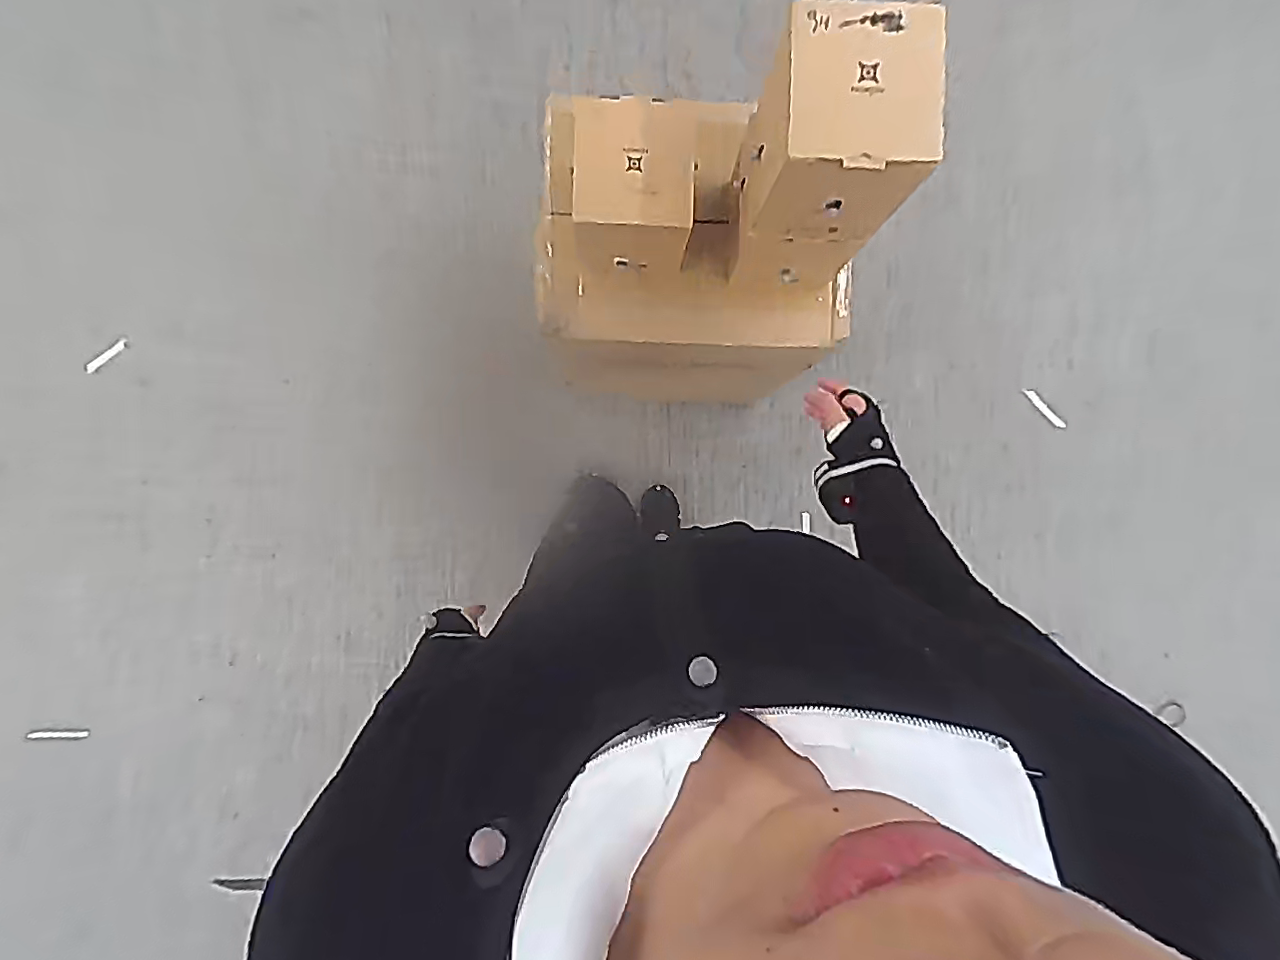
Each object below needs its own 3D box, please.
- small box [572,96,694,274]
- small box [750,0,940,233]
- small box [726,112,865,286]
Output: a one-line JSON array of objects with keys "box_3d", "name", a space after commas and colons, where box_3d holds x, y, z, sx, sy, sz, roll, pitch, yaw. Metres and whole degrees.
[{"box_3d": [-0.013, -0.431, 0.812, 0.168, 0.176, 0.179, 0, 90, -2], "name": "small box"}, {"box_3d": [0.234, -0.421, 0.655, 0.168, 0.176, 0.179, 2, 89, -1], "name": "small box"}, {"box_3d": [0.226, -0.414, 0.819, 0.168, 0.176, 0.179, 1, 89, -1], "name": "small box"}]
